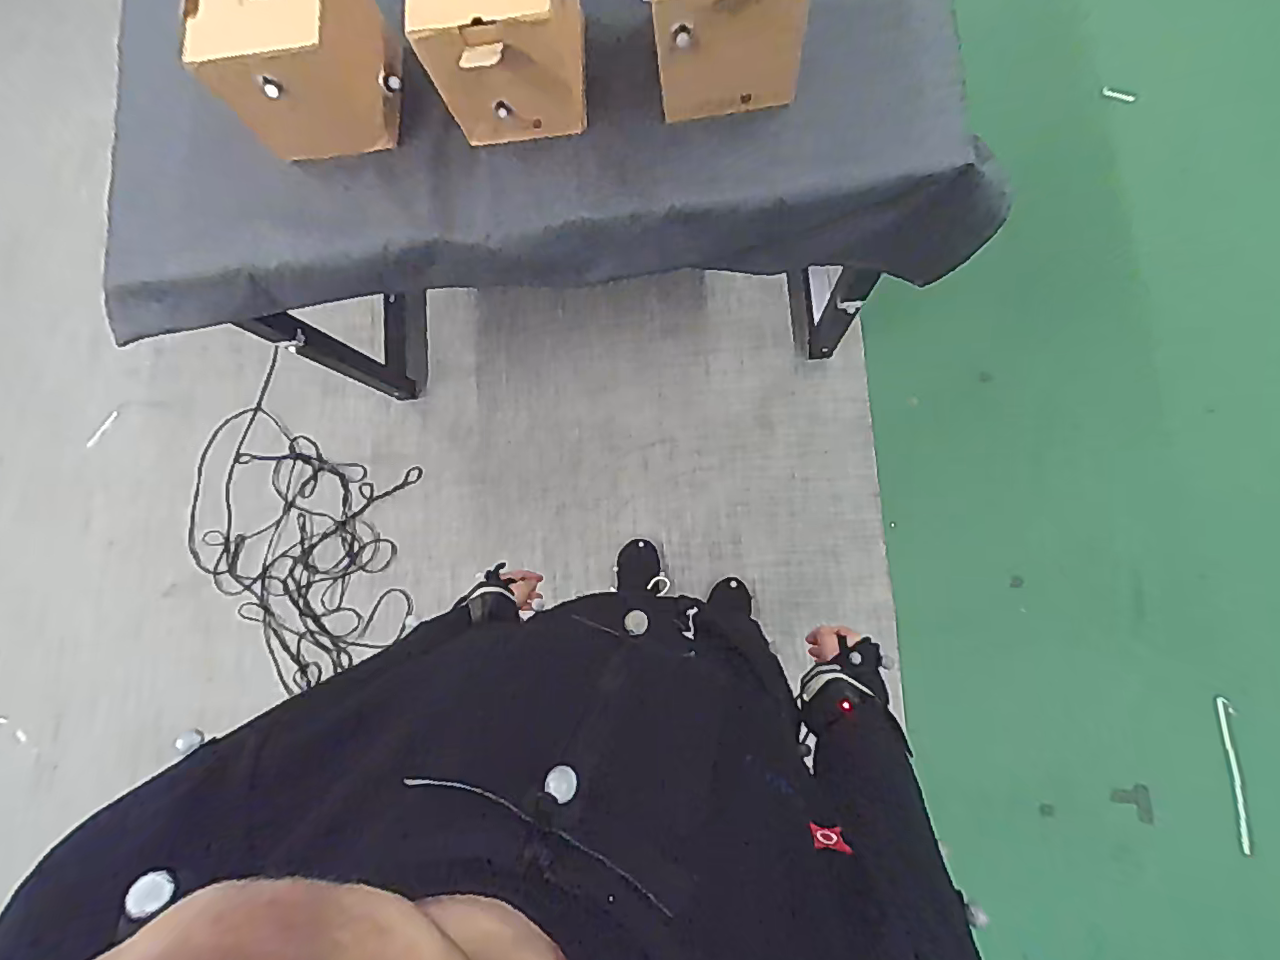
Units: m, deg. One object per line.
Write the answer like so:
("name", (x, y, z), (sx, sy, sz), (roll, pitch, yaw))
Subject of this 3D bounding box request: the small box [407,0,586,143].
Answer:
("small box", (-0.164, -0.561, 0.668), (0.168, 0.176, 0.179), (-3, 83, 7))

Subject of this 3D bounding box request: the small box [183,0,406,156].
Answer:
("small box", (-0.432, -0.553, 0.701), (0.179, 0.176, 0.168), (-2, 84, 6))
